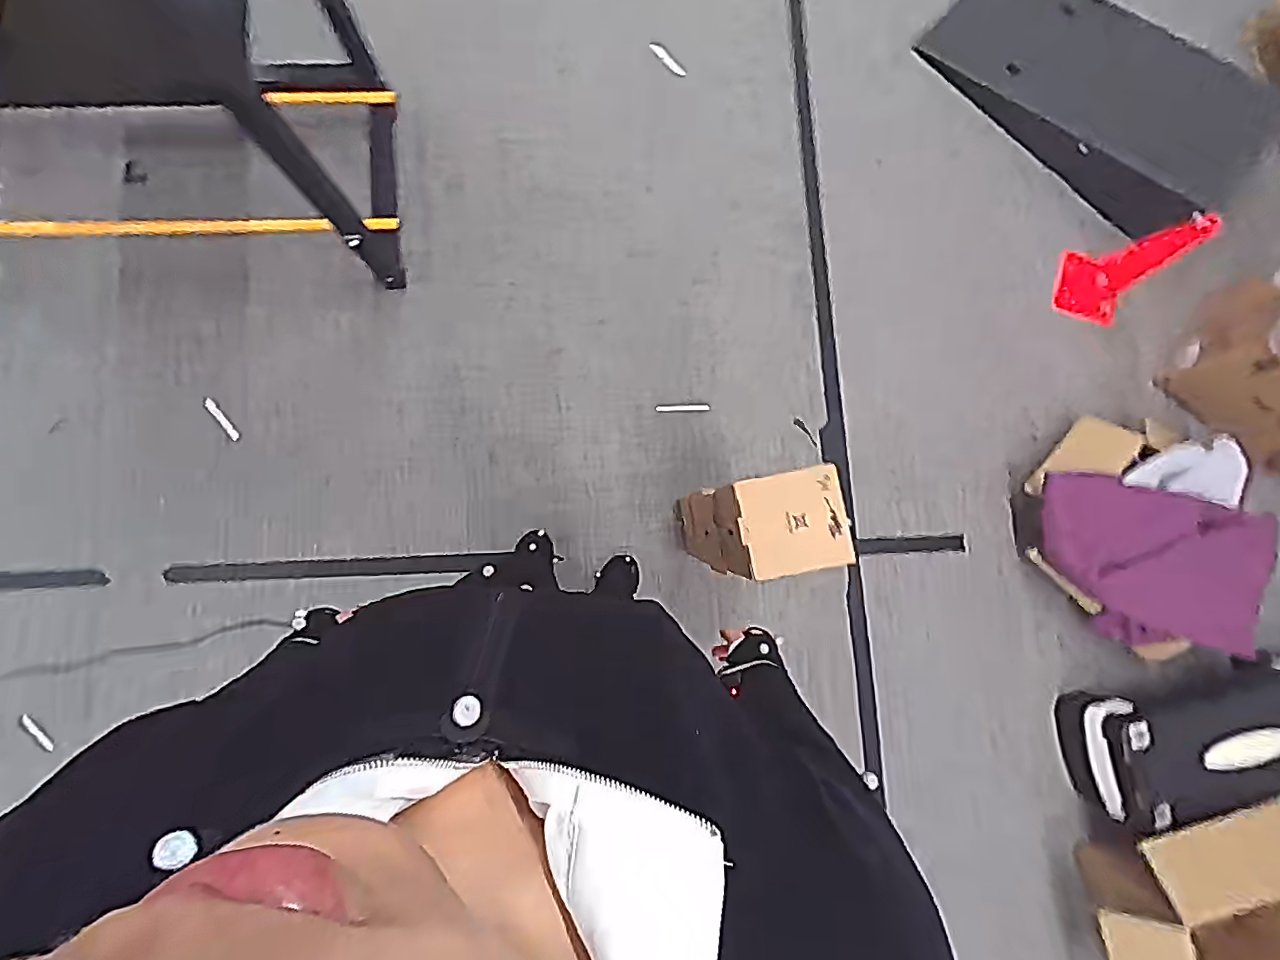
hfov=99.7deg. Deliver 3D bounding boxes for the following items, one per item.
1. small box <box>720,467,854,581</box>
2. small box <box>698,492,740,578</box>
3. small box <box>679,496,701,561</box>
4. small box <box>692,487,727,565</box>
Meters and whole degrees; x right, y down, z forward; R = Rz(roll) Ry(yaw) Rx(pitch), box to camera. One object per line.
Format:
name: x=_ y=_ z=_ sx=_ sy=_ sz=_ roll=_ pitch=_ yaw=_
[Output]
small box: x=0.246 y=0.080 z=0.956 sx=0.179 sy=0.176 sz=0.168 roll=-10 pitch=85 yaw=-4
small box: x=0.230 y=0.100 z=1.118 sx=0.179 sy=0.176 sz=0.168 roll=-11 pitch=84 yaw=-4
small box: x=0.212 y=0.118 z=1.447 sx=0.179 sy=0.176 sz=0.168 roll=-10 pitch=84 yaw=-3
small box: x=0.224 y=0.108 z=1.282 sx=0.168 sy=0.176 sz=0.179 roll=-7 pitch=84 yaw=-4
